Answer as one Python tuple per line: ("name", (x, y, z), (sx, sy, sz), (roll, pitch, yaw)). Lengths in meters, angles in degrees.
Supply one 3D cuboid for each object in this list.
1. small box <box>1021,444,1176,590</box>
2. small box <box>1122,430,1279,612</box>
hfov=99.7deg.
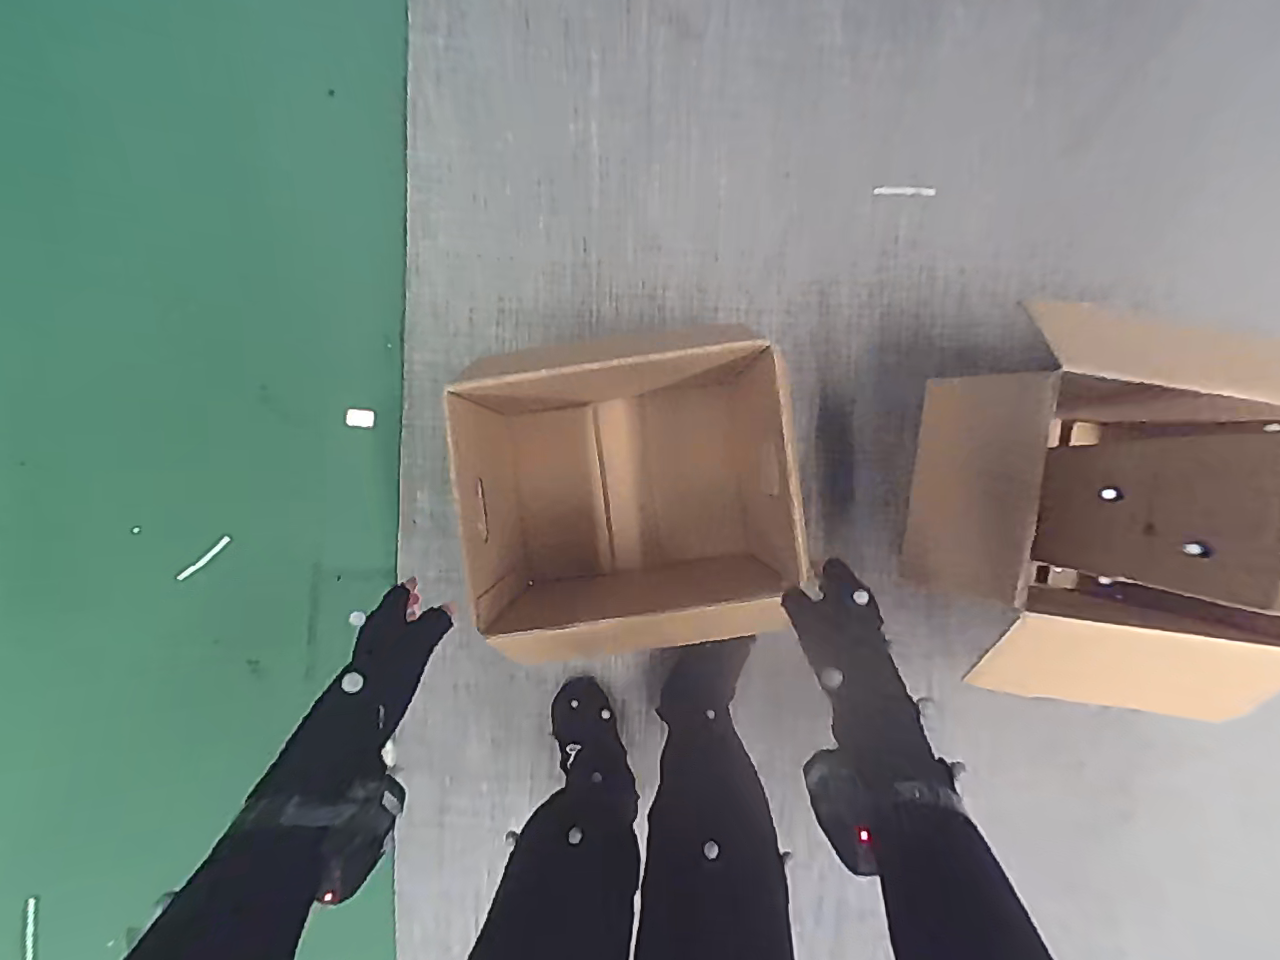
("small box", (0.653, 0.049, 0.711), (0.179, 0.176, 0.168), (7, 90, 1))
("small box", (0.651, 0.046, 0.549), (0.179, 0.176, 0.168), (7, 92, 1))
